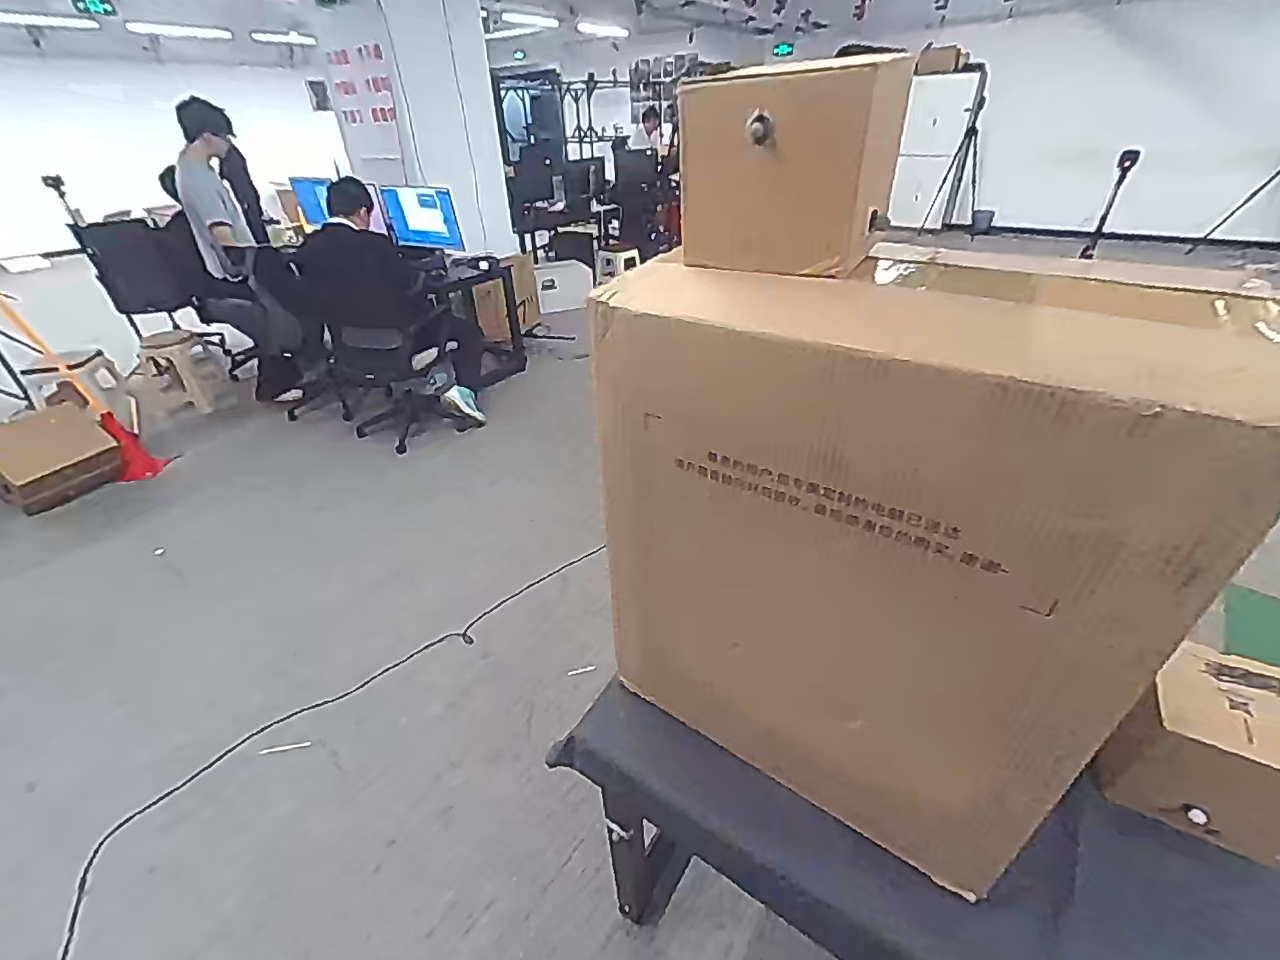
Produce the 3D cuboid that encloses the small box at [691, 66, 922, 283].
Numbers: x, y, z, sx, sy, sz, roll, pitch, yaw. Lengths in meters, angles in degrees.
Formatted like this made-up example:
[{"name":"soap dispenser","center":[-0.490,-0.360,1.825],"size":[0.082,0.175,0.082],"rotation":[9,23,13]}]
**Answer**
[{"name":"small box","center":[0.166,-0.315,0.561],"size":[0.179,0.176,0.168],"rotation":[17,44,26]}]
